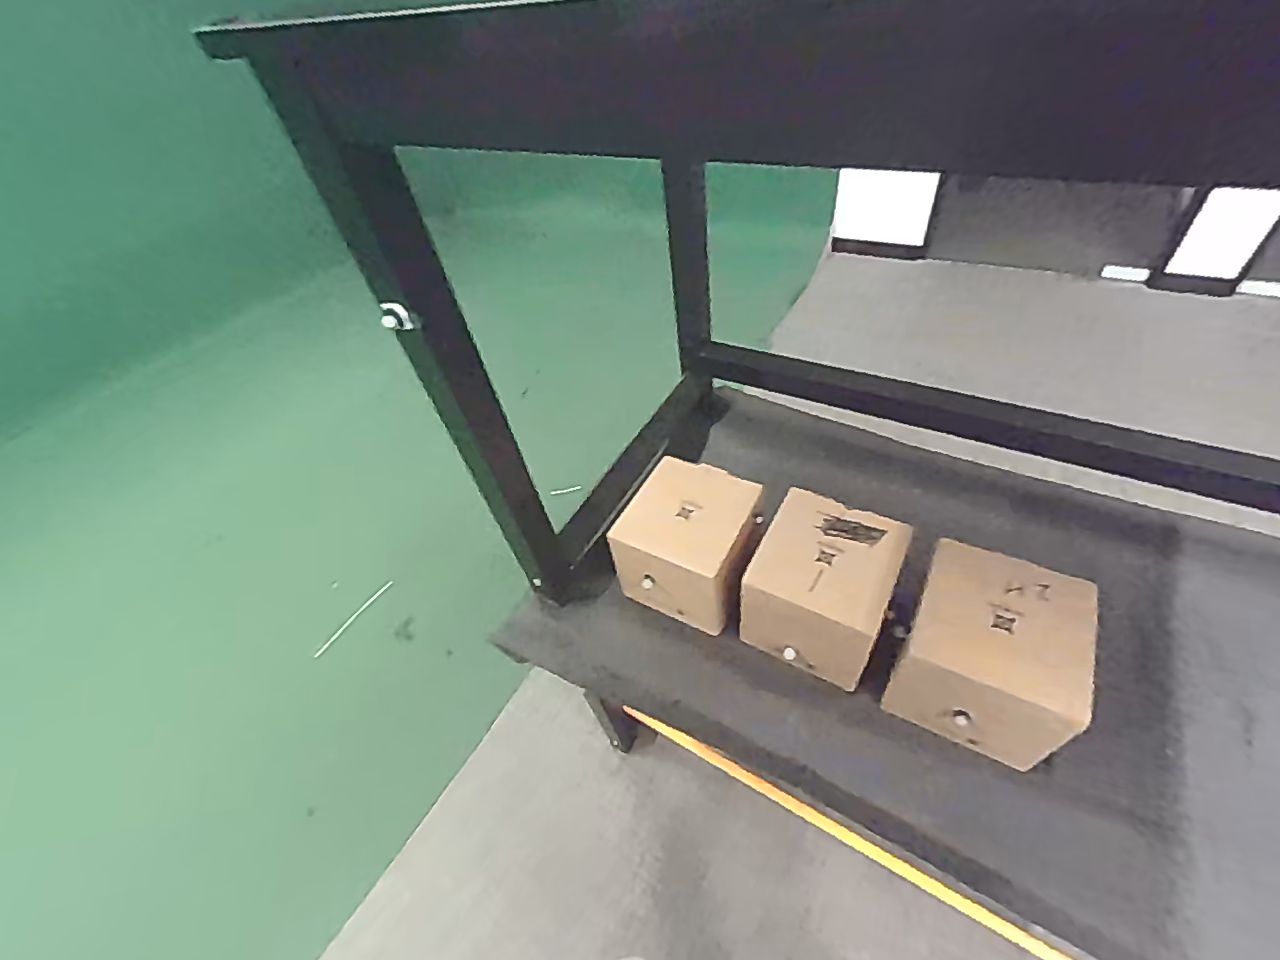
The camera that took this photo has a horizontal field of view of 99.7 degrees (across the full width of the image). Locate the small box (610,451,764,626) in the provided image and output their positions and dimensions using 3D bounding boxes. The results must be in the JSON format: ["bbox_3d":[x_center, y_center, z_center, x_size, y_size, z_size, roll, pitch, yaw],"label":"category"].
[{"bbox_3d":[0.079,0.090,0.821,0.168,0.176,0.179,20,54,25],"label":"small box"}]
